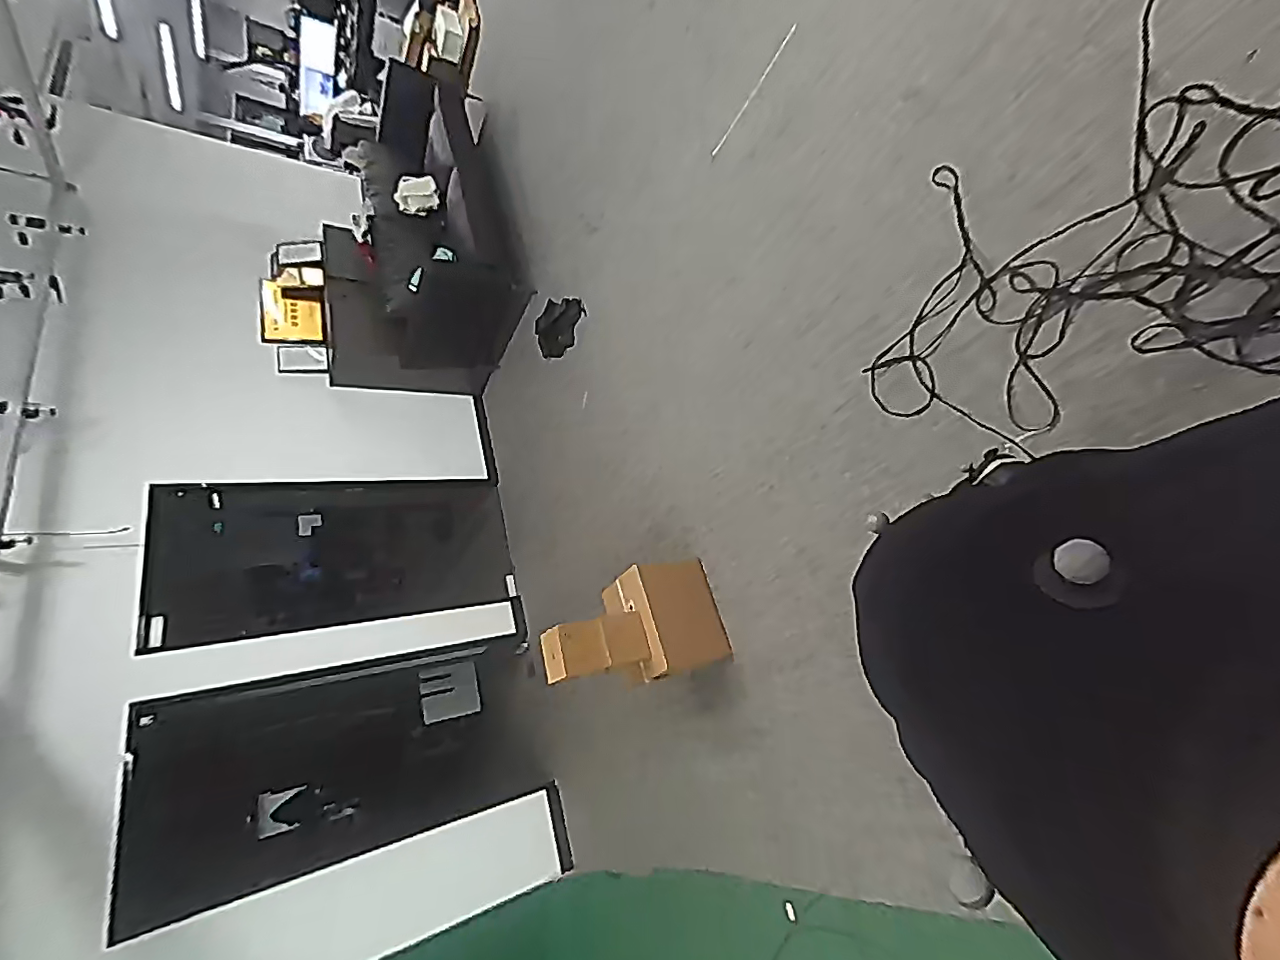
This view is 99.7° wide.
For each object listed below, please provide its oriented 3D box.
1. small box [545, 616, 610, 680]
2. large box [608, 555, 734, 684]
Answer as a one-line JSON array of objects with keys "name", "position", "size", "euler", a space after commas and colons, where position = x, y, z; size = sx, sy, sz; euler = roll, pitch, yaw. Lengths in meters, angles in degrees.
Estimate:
[{"name": "small box", "position": [-0.222, 0.595, 1.925], "size": [0.168, 0.176, 0.179], "euler": [-42, 55, 49]}, {"name": "large box", "position": [0.113, 0.550, 2.155], "size": [0.320, 0.320, 0.408], "euler": [-46, 52, 46]}]
